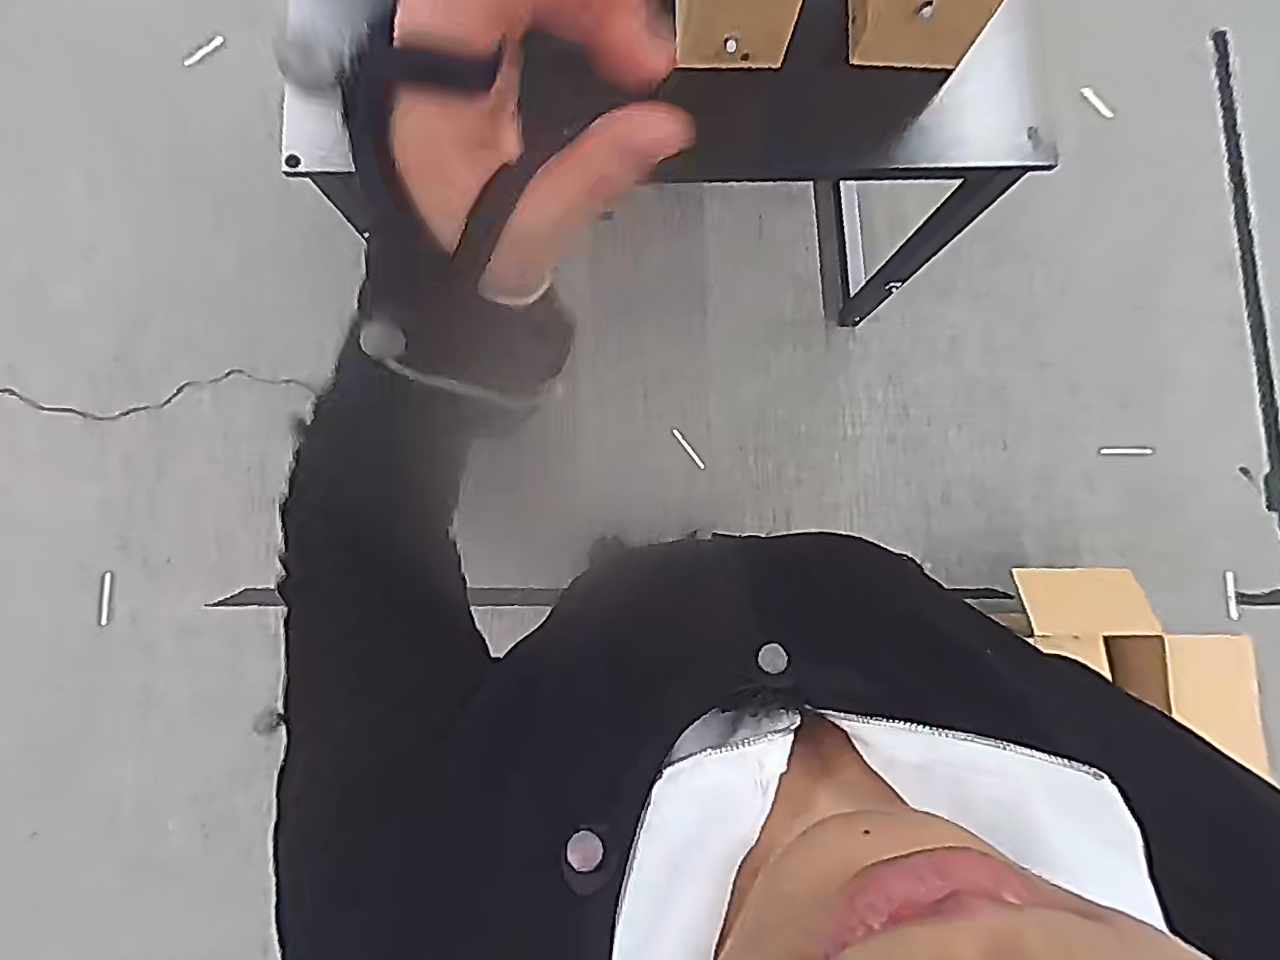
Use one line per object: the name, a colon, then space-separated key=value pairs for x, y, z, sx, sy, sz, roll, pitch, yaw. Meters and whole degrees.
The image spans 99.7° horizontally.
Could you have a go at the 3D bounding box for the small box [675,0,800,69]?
small box: x=0.139 y=-0.747 z=0.783 sx=0.168 sy=0.176 sz=0.179 roll=-1 pitch=85 yaw=-1

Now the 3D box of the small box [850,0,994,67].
small box: x=0.421 y=-0.749 z=0.791 sx=0.179 sy=0.176 sz=0.168 roll=2 pitch=84 yaw=0
